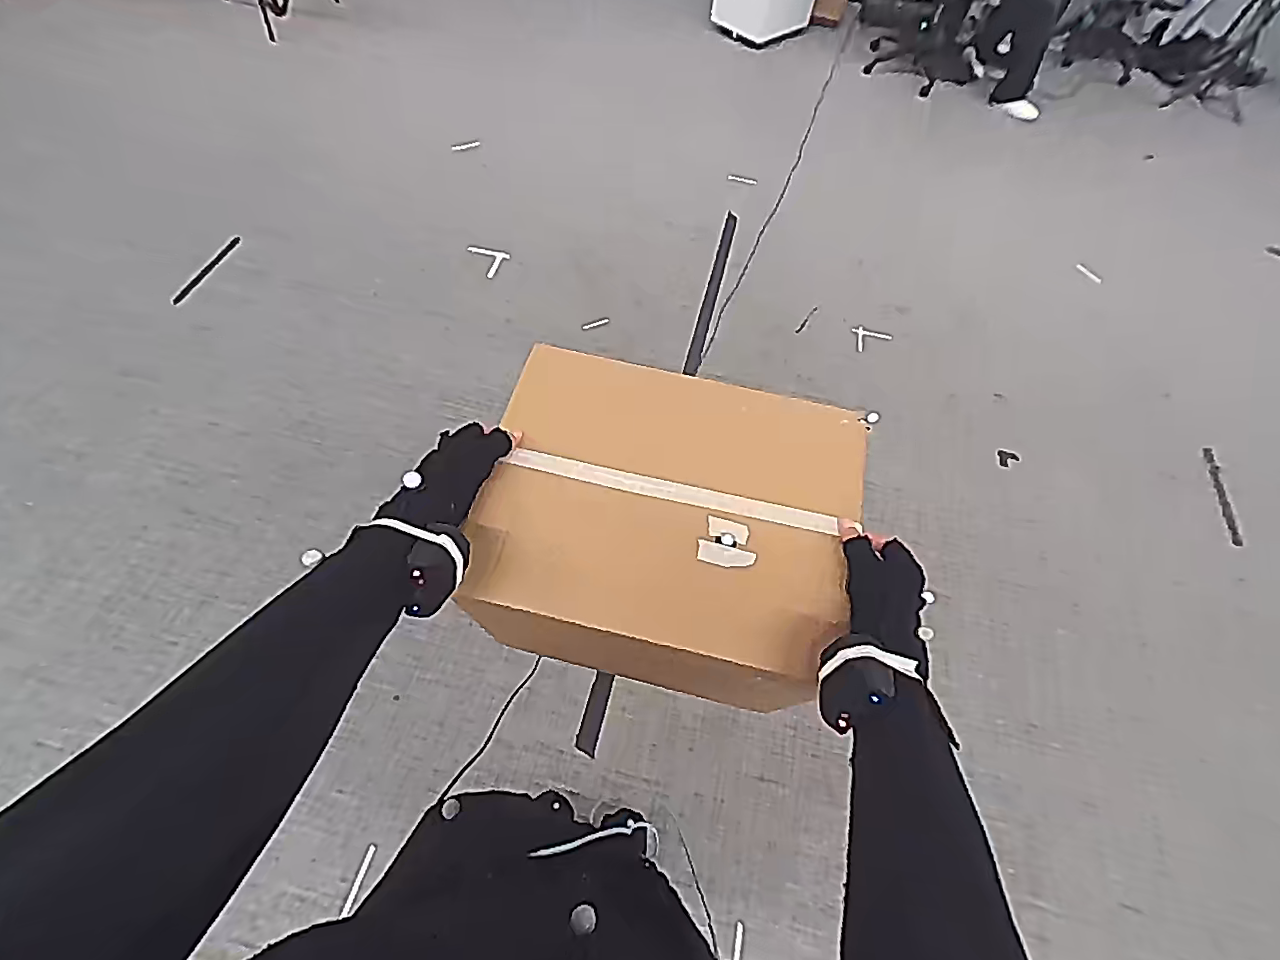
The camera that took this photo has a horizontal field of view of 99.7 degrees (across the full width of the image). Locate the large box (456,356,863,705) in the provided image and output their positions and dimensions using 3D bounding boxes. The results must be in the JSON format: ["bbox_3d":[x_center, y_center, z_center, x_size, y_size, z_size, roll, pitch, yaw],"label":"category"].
[{"bbox_3d":[0.032,0.085,0.723,0.408,0.320,0.320,13,64,4],"label":"large box"}]
